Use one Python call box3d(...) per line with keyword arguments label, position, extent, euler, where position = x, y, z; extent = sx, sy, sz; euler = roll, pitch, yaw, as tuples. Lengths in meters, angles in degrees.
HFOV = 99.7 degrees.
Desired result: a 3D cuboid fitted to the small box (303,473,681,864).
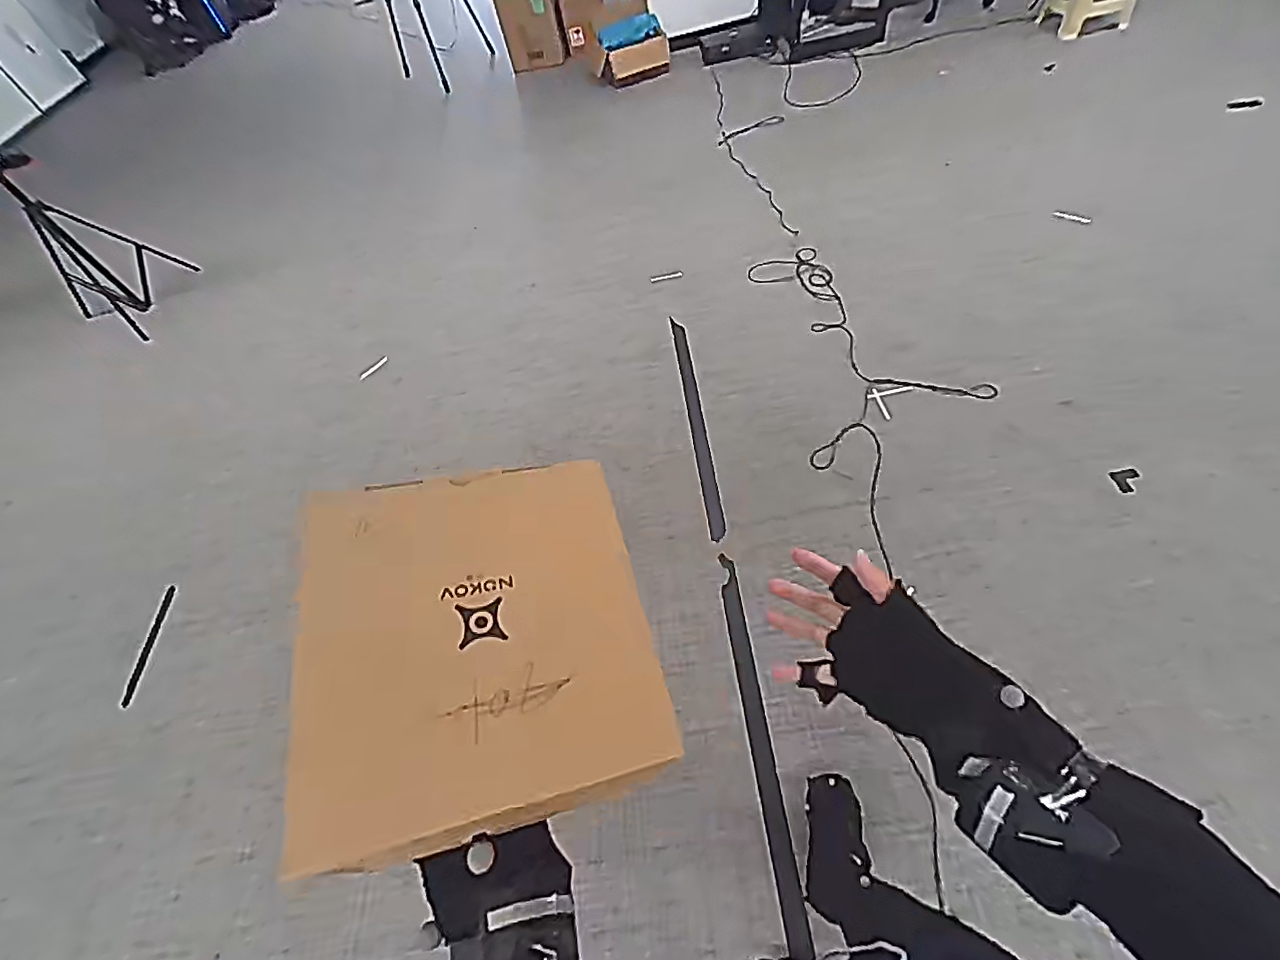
box3d(label="small box", position=(-0.093, 0.120, 0.346), extent=(0.168, 0.176, 0.179), euler=(-8, 57, -17))
